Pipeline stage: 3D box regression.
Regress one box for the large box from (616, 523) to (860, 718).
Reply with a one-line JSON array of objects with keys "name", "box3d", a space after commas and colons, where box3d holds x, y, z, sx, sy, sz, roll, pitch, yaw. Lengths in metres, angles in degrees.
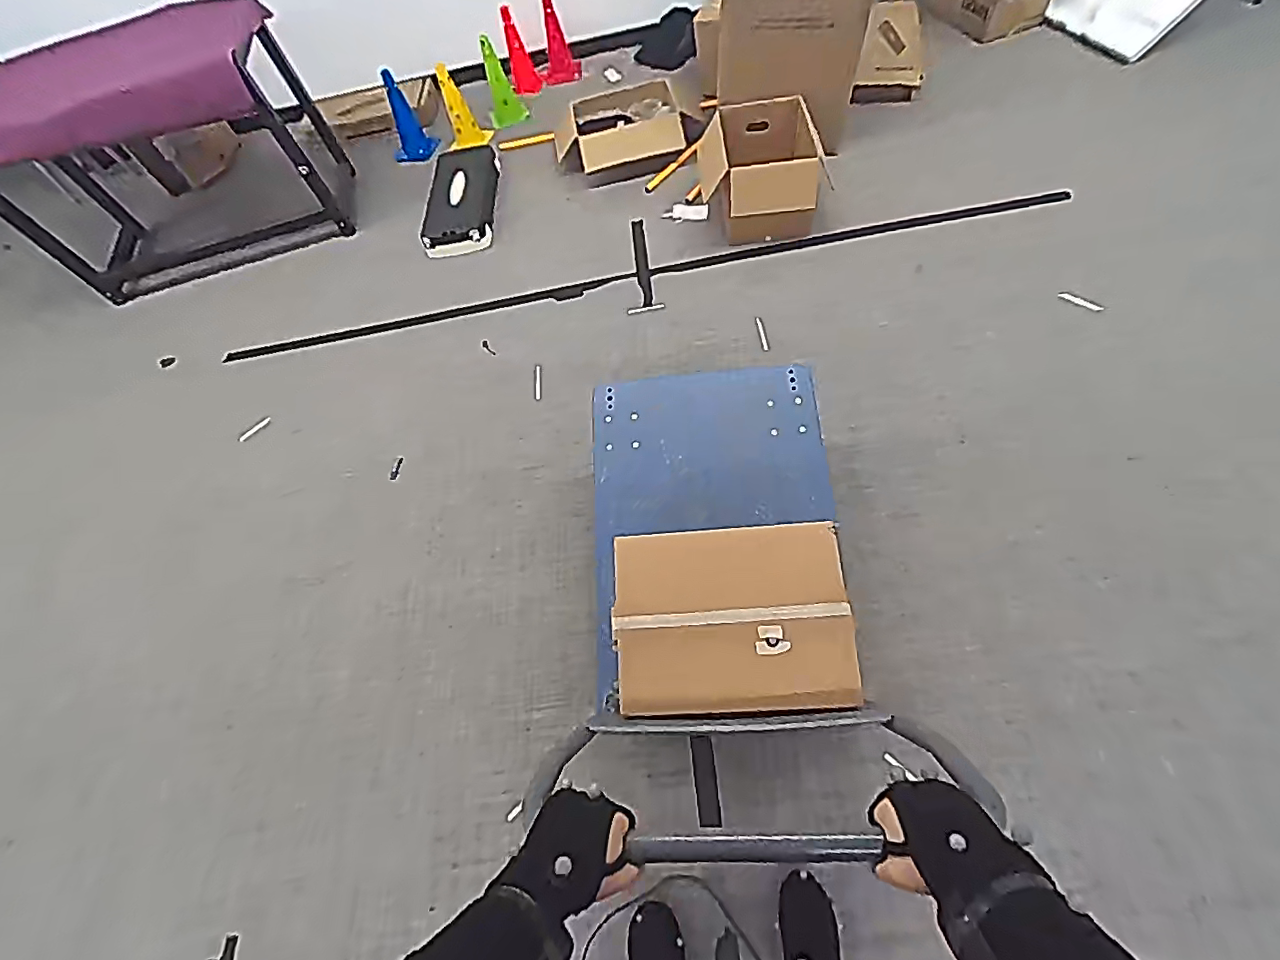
[{"name": "large box", "box3d": [0.177, 0.292, 1.103, 0.408, 0.320, 0.320, -5, 71, 5]}]
